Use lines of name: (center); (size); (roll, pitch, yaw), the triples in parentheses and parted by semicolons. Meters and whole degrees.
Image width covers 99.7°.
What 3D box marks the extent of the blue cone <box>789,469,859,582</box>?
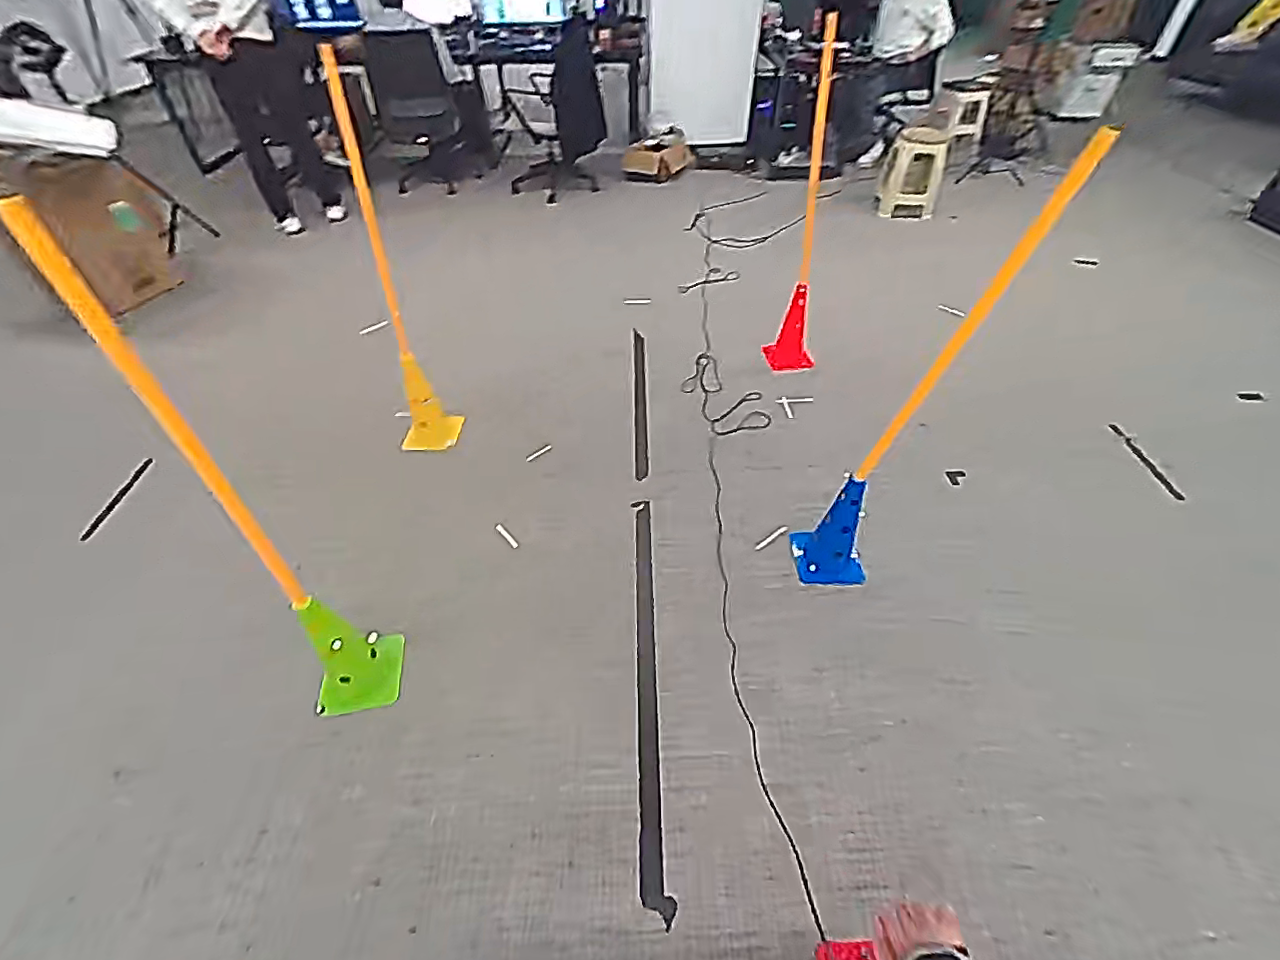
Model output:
blue cone: (0.573, 0.123, 1.576); (0.193, 0.380, 0.192); (0, 45, 1)

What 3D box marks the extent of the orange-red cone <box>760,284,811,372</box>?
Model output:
orange-red cone: (0.659, -0.674, 2.346); (0.199, 0.360, 0.198); (-6, 45, -3)

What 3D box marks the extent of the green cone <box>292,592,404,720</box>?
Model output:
green cone: (-0.737, 0.396, 1.310); (0.200, 0.368, 0.202); (-9, 44, -8)
